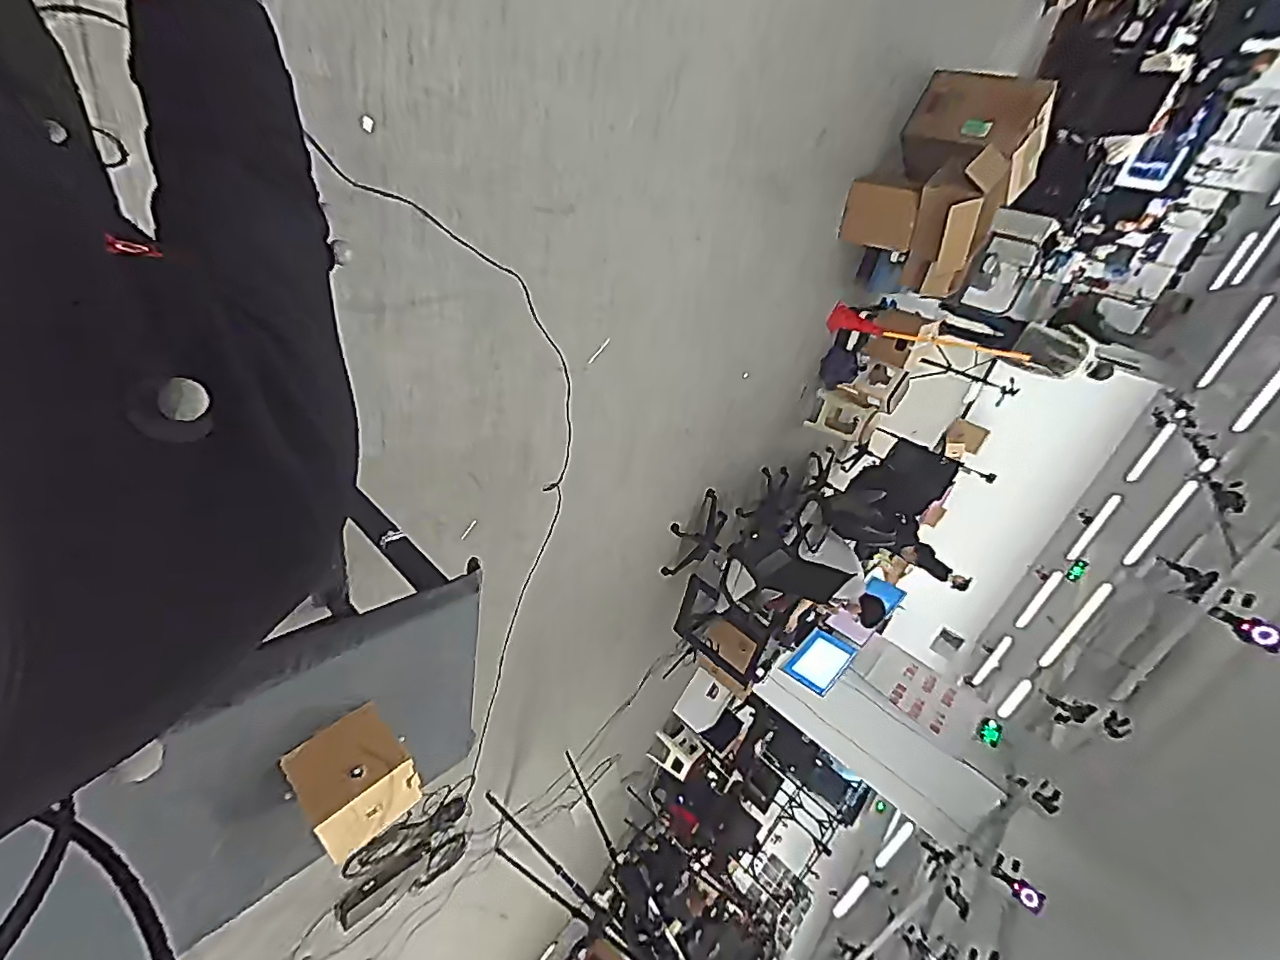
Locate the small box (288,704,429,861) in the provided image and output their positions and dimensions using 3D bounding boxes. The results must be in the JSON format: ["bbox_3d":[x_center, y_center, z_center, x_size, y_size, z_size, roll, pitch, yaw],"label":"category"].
[{"bbox_3d":[-0.546,0.582,1.059,0.179,0.176,0.168,-29,138,-38],"label":"small box"}]
